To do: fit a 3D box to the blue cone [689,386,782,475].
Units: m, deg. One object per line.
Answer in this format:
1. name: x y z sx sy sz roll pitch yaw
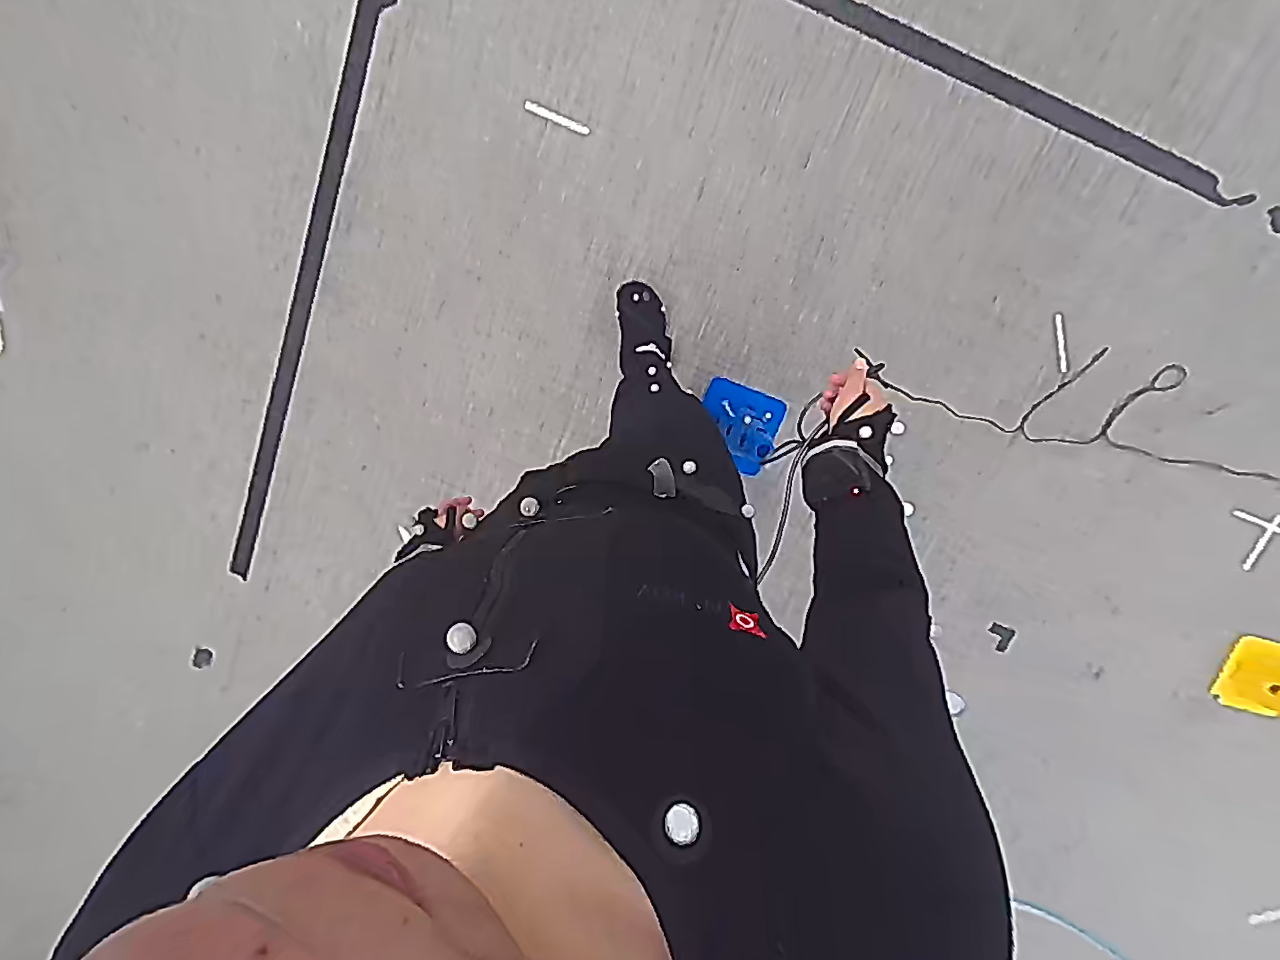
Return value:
1. blue cone: 0.227 -0.083 1.151 0.193 0.380 0.192 22 103 -3
